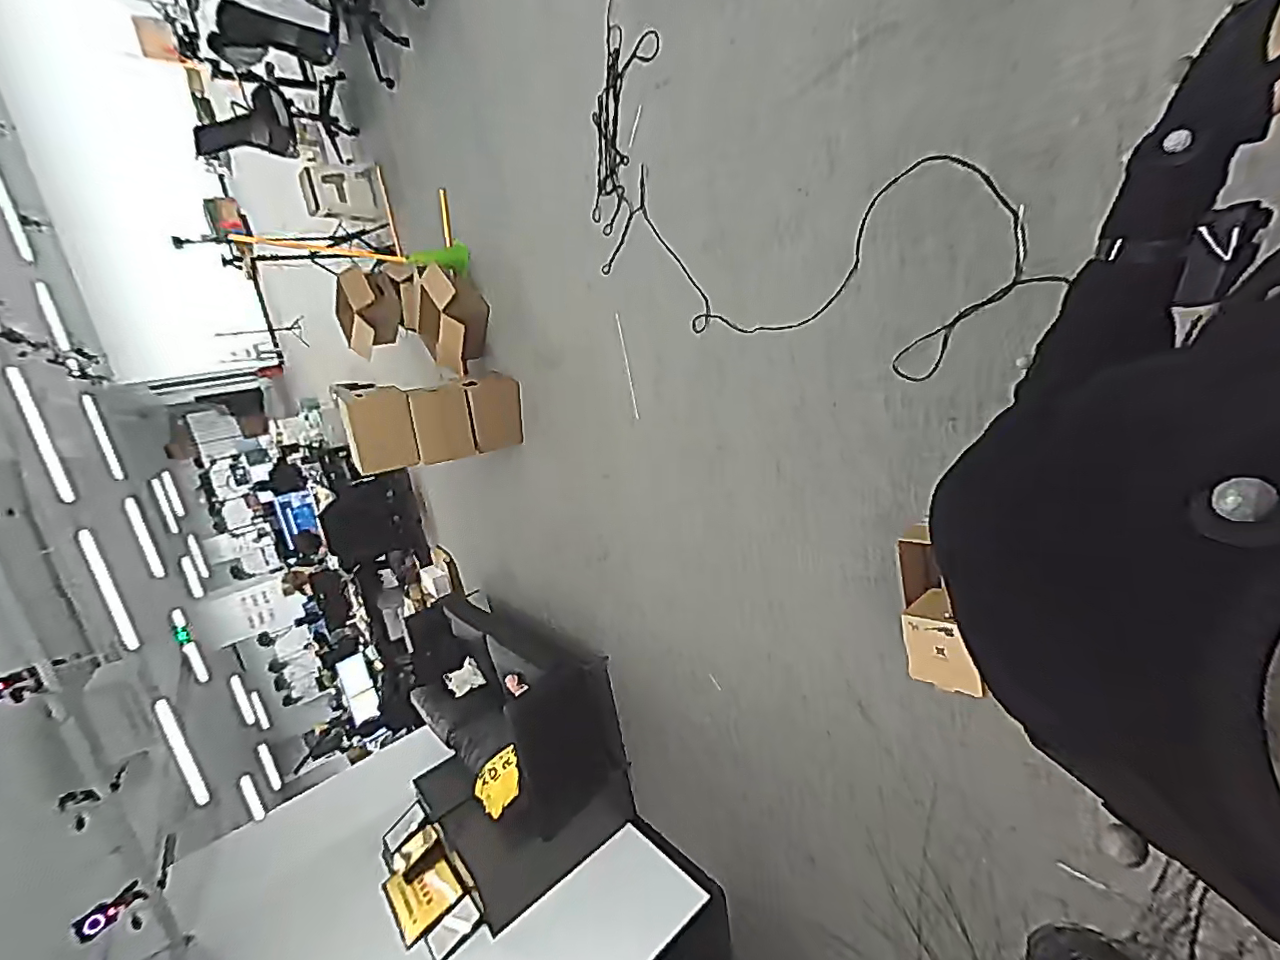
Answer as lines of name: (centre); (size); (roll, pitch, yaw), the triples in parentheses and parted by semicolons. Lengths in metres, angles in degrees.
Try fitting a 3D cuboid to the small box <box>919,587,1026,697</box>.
small box: (0.803, 0.379, 1.298); (0.168, 0.176, 0.179); (-1, 105, 53)
